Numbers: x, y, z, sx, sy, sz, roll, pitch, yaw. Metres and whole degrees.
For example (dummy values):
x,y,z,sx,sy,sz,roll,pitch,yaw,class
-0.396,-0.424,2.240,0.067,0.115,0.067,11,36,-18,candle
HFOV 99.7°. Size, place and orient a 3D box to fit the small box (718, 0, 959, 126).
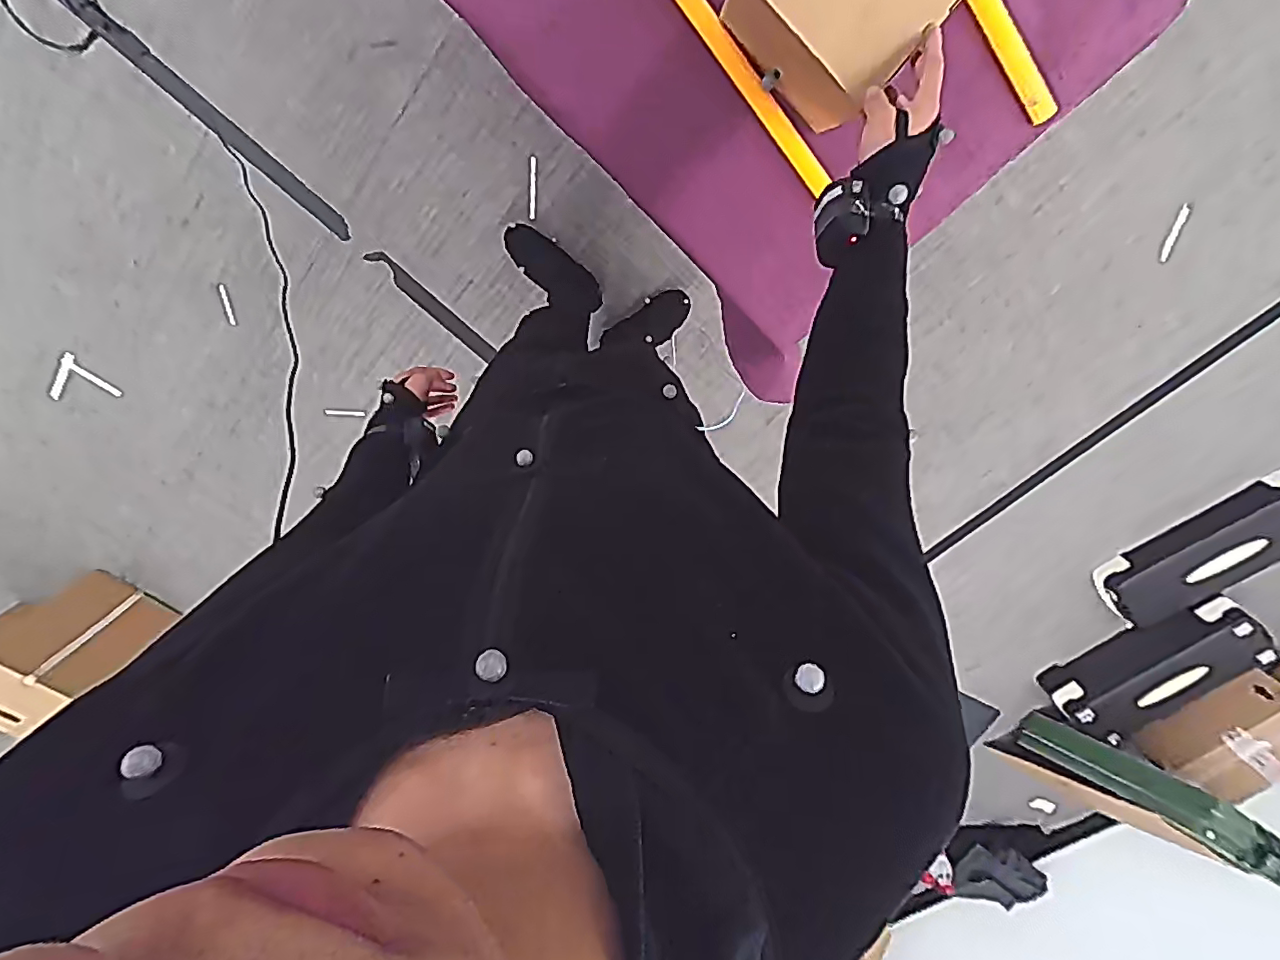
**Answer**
x,y,z,sx,sy,sz,roll,pitch,yaw,class
0.204,-0.508,0.568,0.179,0.176,0.168,36,113,-18,small box
